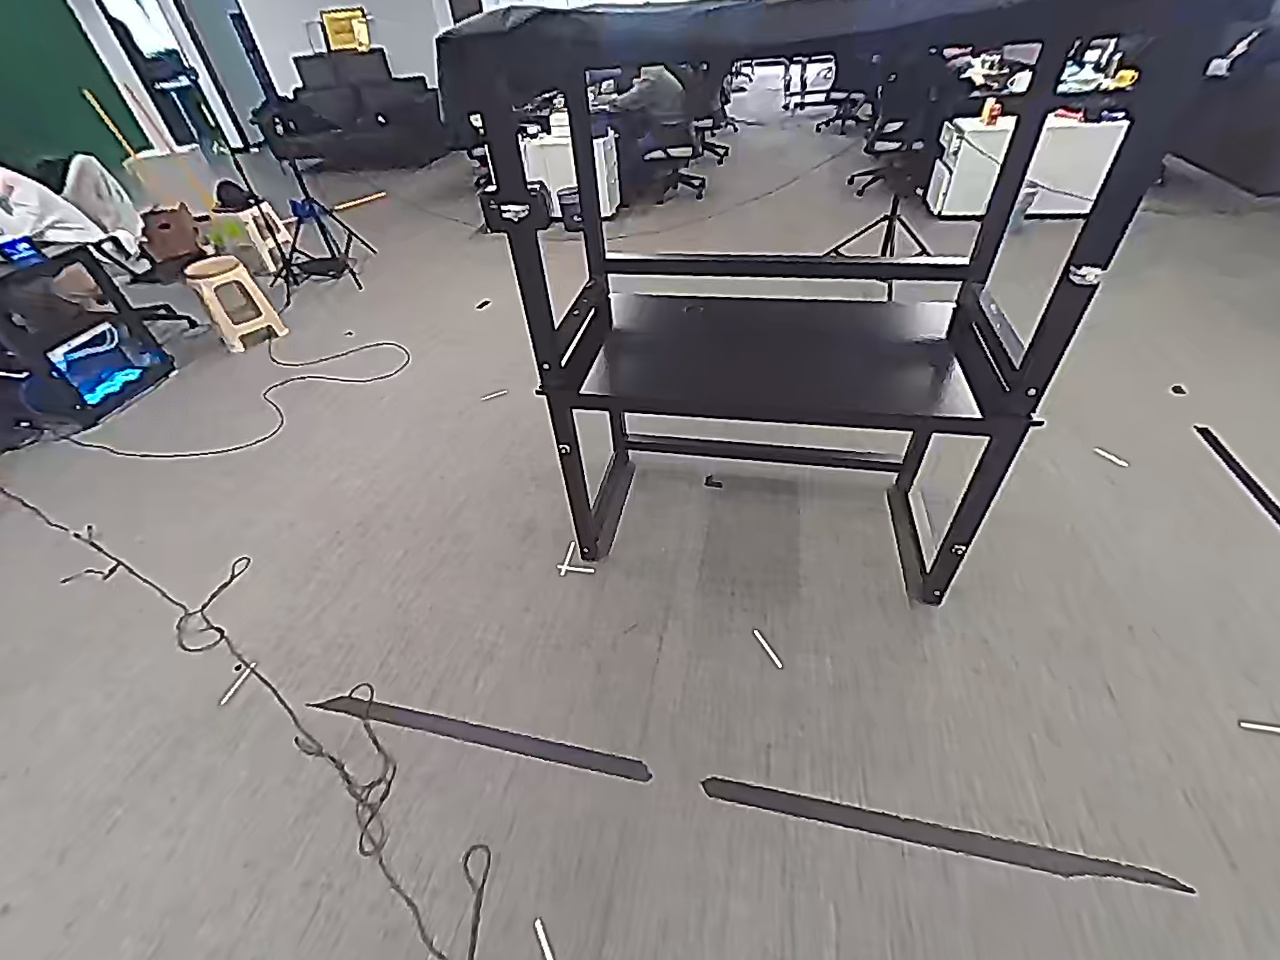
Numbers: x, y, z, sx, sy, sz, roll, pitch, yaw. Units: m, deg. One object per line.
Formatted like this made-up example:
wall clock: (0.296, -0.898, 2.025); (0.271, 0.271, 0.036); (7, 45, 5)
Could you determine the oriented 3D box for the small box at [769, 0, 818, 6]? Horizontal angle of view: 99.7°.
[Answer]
small box: (0.305, -0.909, 0.897); (0.168, 0.176, 0.179); (5, 41, 11)
